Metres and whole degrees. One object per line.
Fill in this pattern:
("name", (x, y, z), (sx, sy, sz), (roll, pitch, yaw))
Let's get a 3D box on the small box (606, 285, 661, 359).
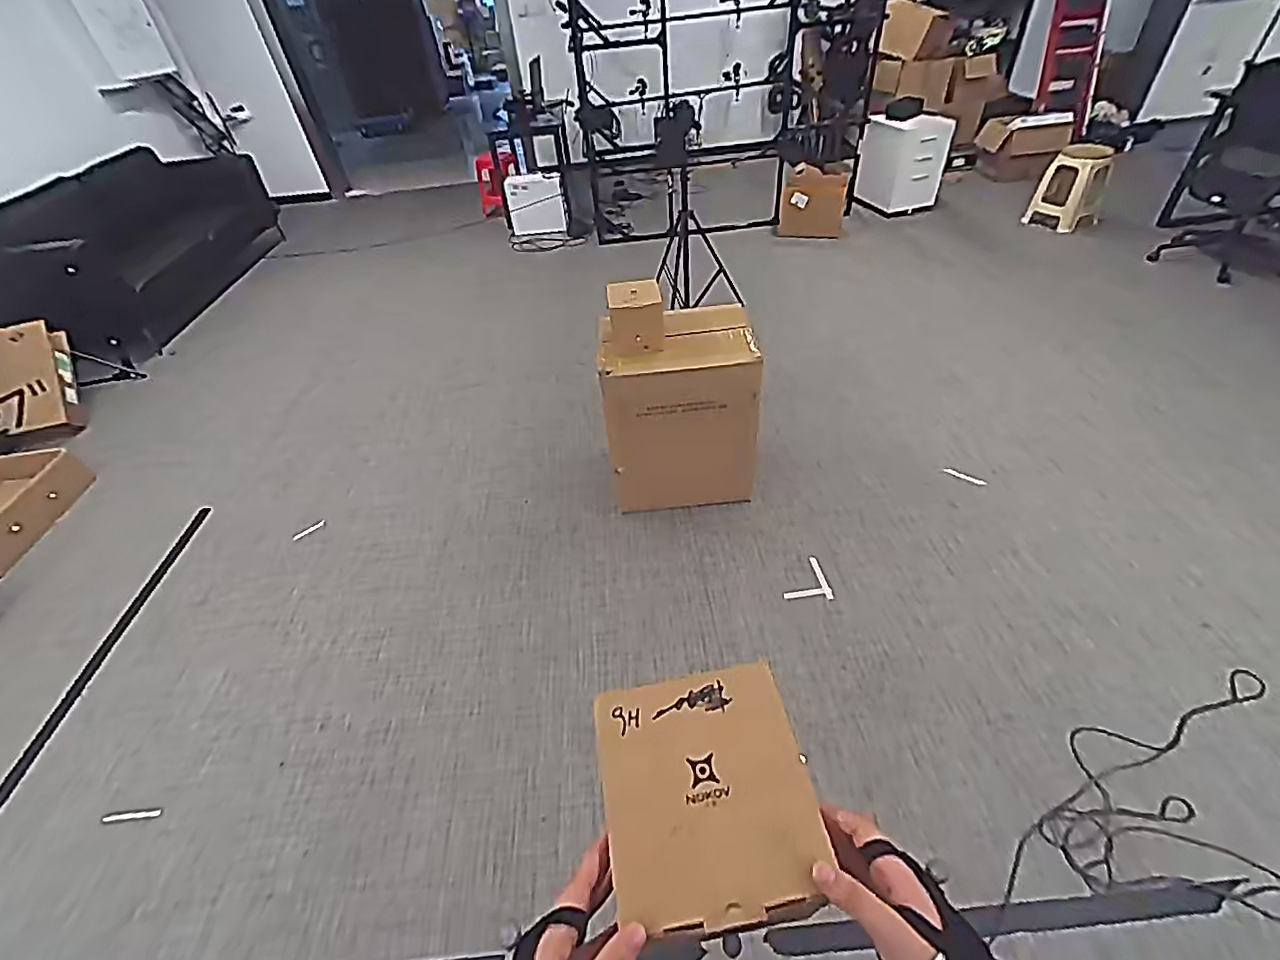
("small box", (-0.021, -0.518, 1.778), (0.168, 0.176, 0.179), (-7, 44, -1))
